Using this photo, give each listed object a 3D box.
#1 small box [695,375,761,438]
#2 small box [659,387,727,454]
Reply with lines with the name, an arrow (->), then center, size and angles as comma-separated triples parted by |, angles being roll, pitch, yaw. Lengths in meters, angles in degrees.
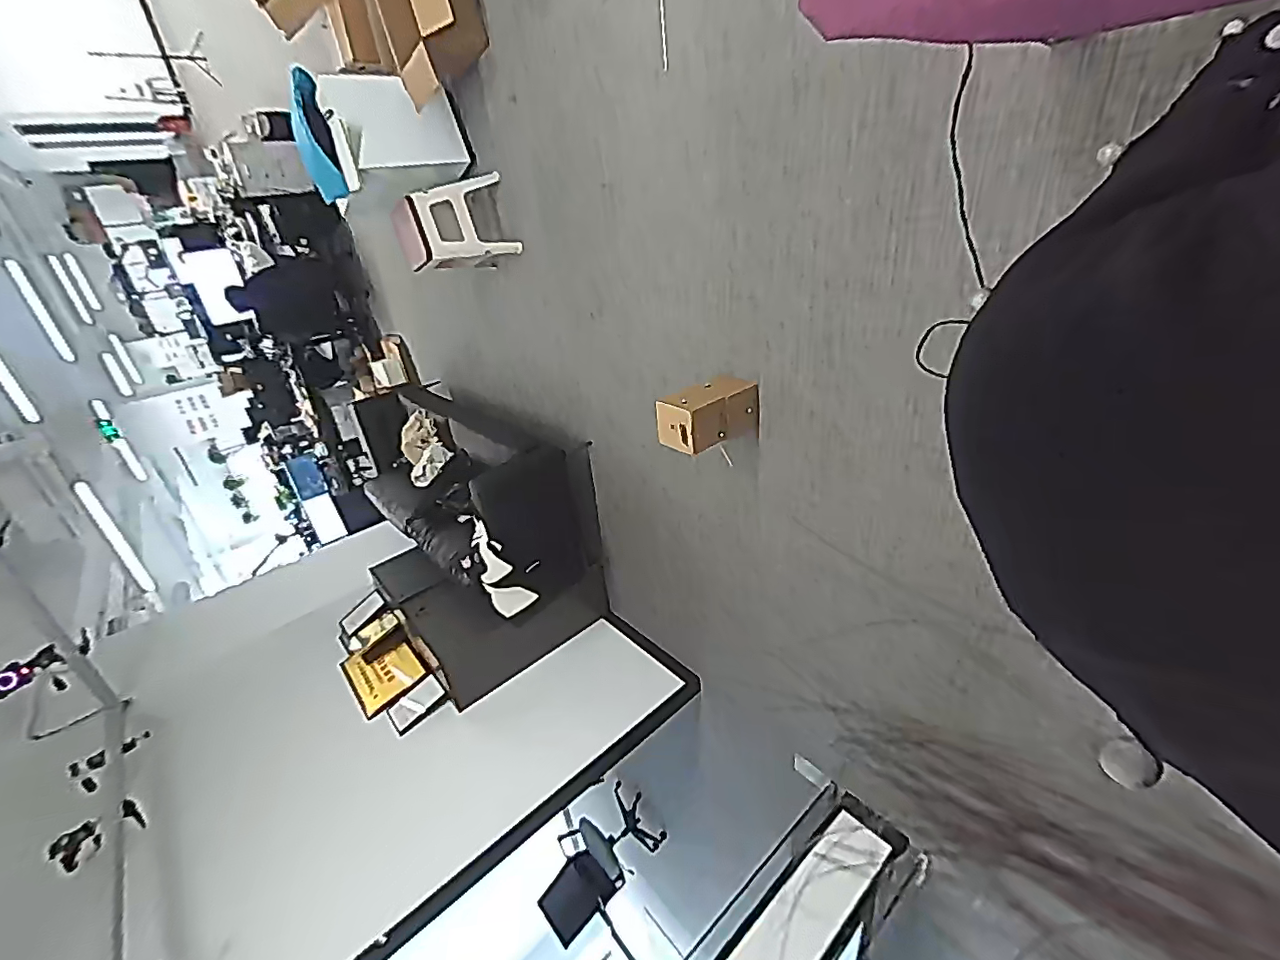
small box -> 0.321, -0.275, 1.979 | 0.179, 0.176, 0.168 | 26, 133, 43
small box -> 0.193, -0.214, 1.896 | 0.179, 0.176, 0.168 | 25, 132, 45
